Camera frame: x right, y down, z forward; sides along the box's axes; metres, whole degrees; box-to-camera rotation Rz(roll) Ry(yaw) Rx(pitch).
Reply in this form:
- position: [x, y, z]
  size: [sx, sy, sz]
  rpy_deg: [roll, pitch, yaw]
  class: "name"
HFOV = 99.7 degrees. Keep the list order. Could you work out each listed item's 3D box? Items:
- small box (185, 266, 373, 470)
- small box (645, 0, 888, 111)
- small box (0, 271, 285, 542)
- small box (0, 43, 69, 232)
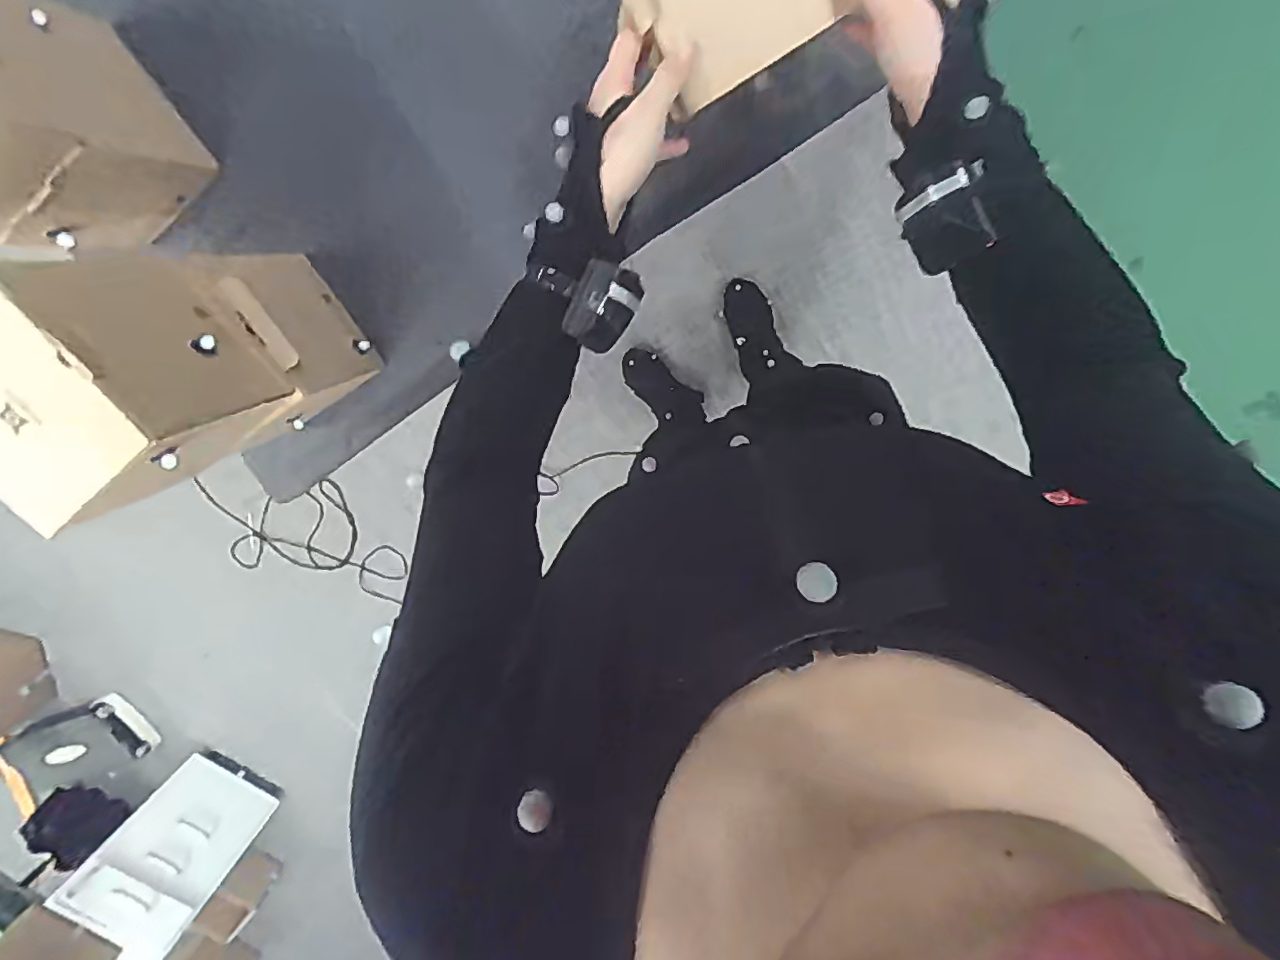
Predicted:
- position: [-0.464, -0.145, 0.660]
  size: [0.179, 0.176, 0.168]
  rpy_deg: [-27, 108, 17]
  class: "small box"
- position: [0.085, -0.407, 0.406]
  size: [0.179, 0.176, 0.168]
  rpy_deg: [-23, 119, 16]
  class: "small box"
- position: [-0.495, -0.077, 0.515]
  size: [0.179, 0.176, 0.168]
  rpy_deg: [-32, 106, 17]
  class: "small box"
- position: [-0.640, -0.306, 0.431]
  size: [0.179, 0.176, 0.168]
  rpy_deg: [-28, 108, 16]
  class: "small box"
